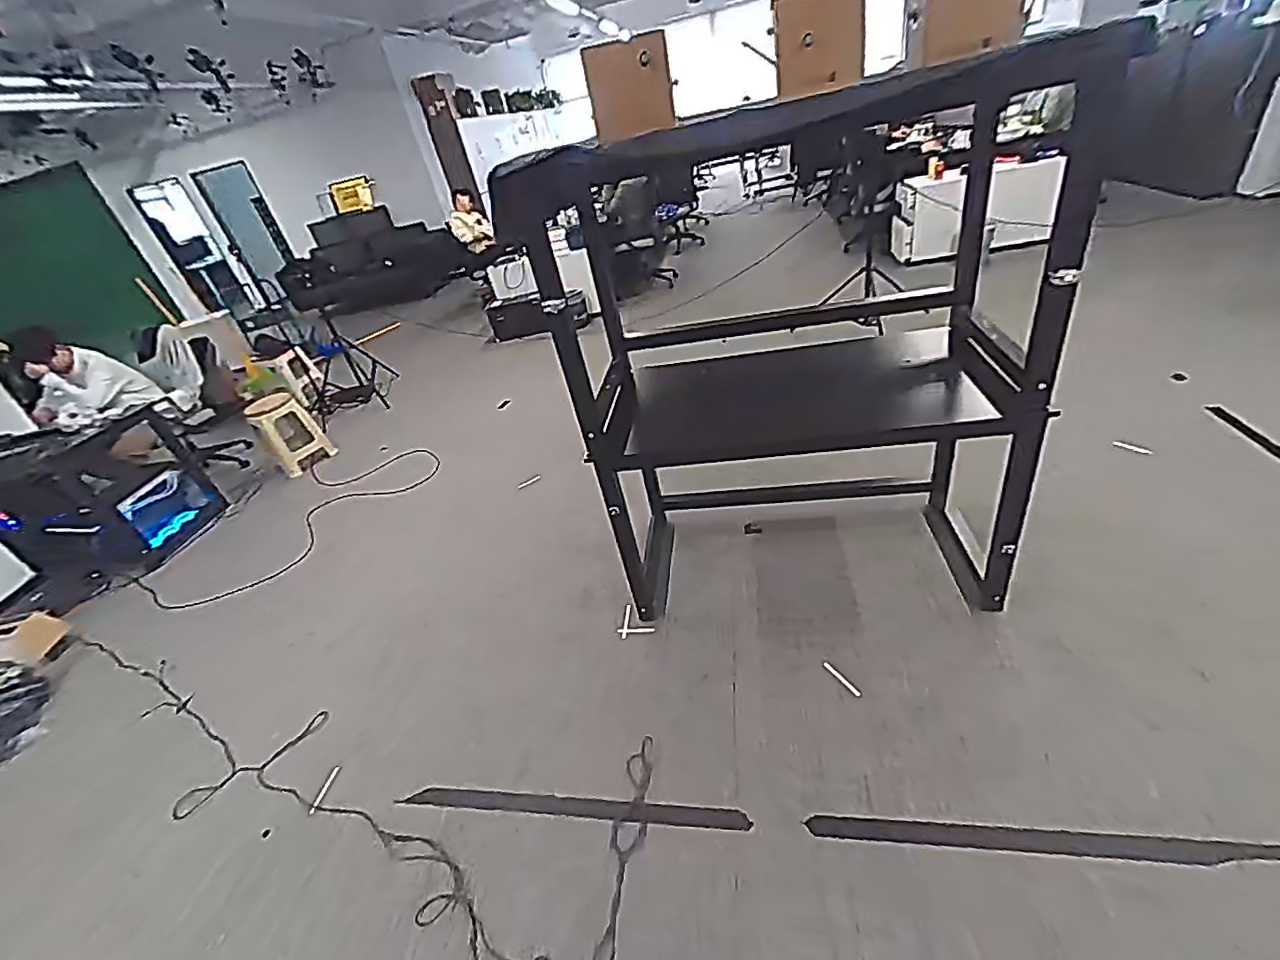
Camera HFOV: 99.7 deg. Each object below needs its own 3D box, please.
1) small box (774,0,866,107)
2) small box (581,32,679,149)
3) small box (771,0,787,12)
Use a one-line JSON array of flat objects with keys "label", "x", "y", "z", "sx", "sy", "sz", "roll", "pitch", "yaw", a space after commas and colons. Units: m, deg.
[{"label": "small box", "x": 0.364, "y": -0.877, "z": 1.100, "sx": 0.168, "sy": 0.176, "sz": 0.179, "roll": -3, "pitch": 33, "yaw": 16}, {"label": "small box", "x": -0.011, "y": -0.833, "z": 1.168, "sx": 0.179, "sy": 0.176, "sz": 0.168, "roll": -7, "pitch": 32, "yaw": 10}, {"label": "small box", "x": 0.328, "y": -1.006, "z": 1.005, "sx": 0.179, "sy": 0.176, "sz": 0.168, "roll": -4, "pitch": 32, "yaw": 17}]
